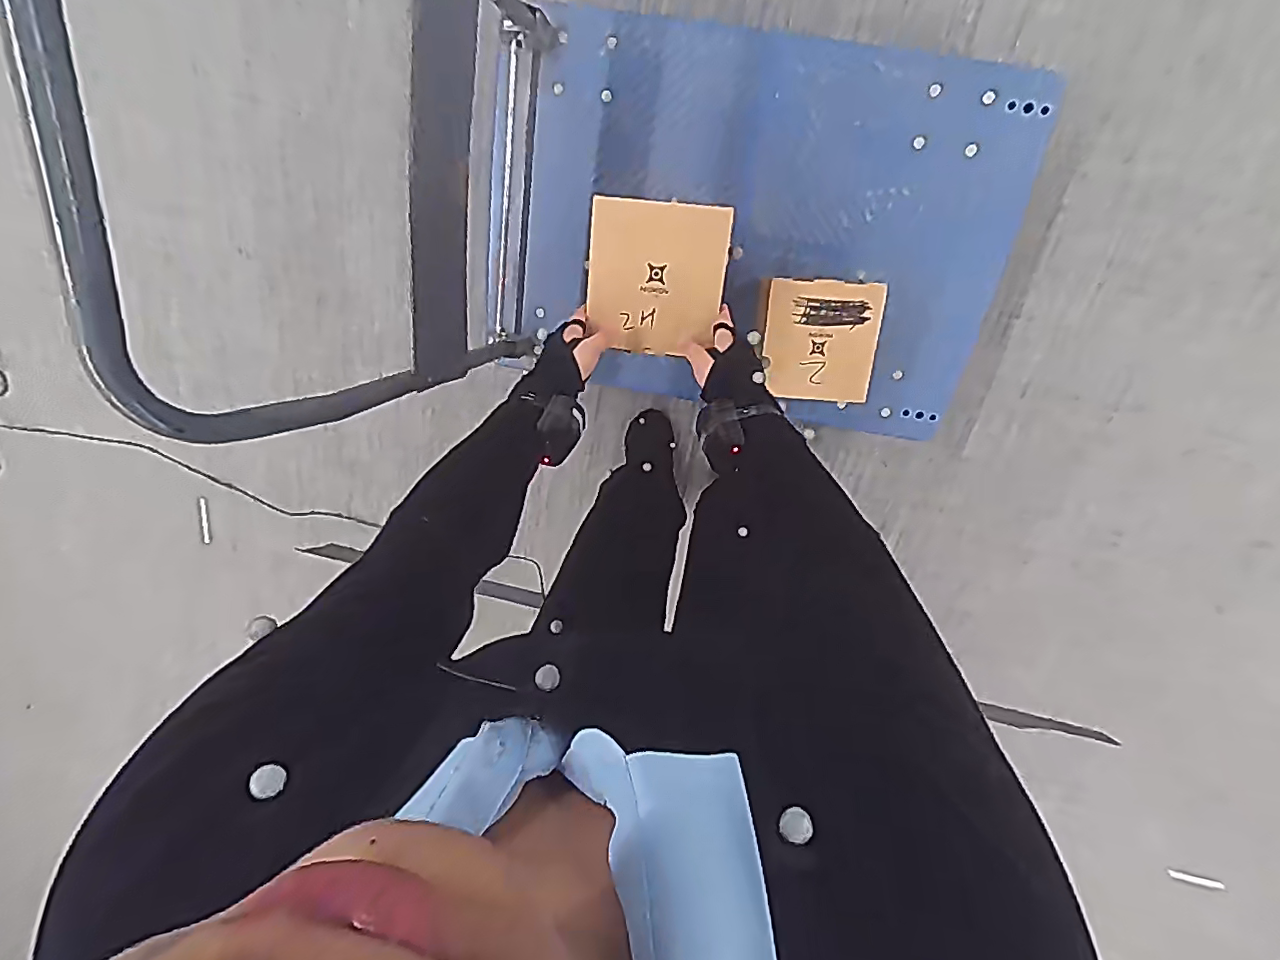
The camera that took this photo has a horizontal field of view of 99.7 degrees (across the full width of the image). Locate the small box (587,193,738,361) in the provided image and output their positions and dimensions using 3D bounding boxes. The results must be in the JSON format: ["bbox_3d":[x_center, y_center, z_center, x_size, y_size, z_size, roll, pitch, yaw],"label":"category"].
[{"bbox_3d":[0.032,-0.265,0.717,0.168,0.176,0.179,8,111,6],"label":"small box"}]
